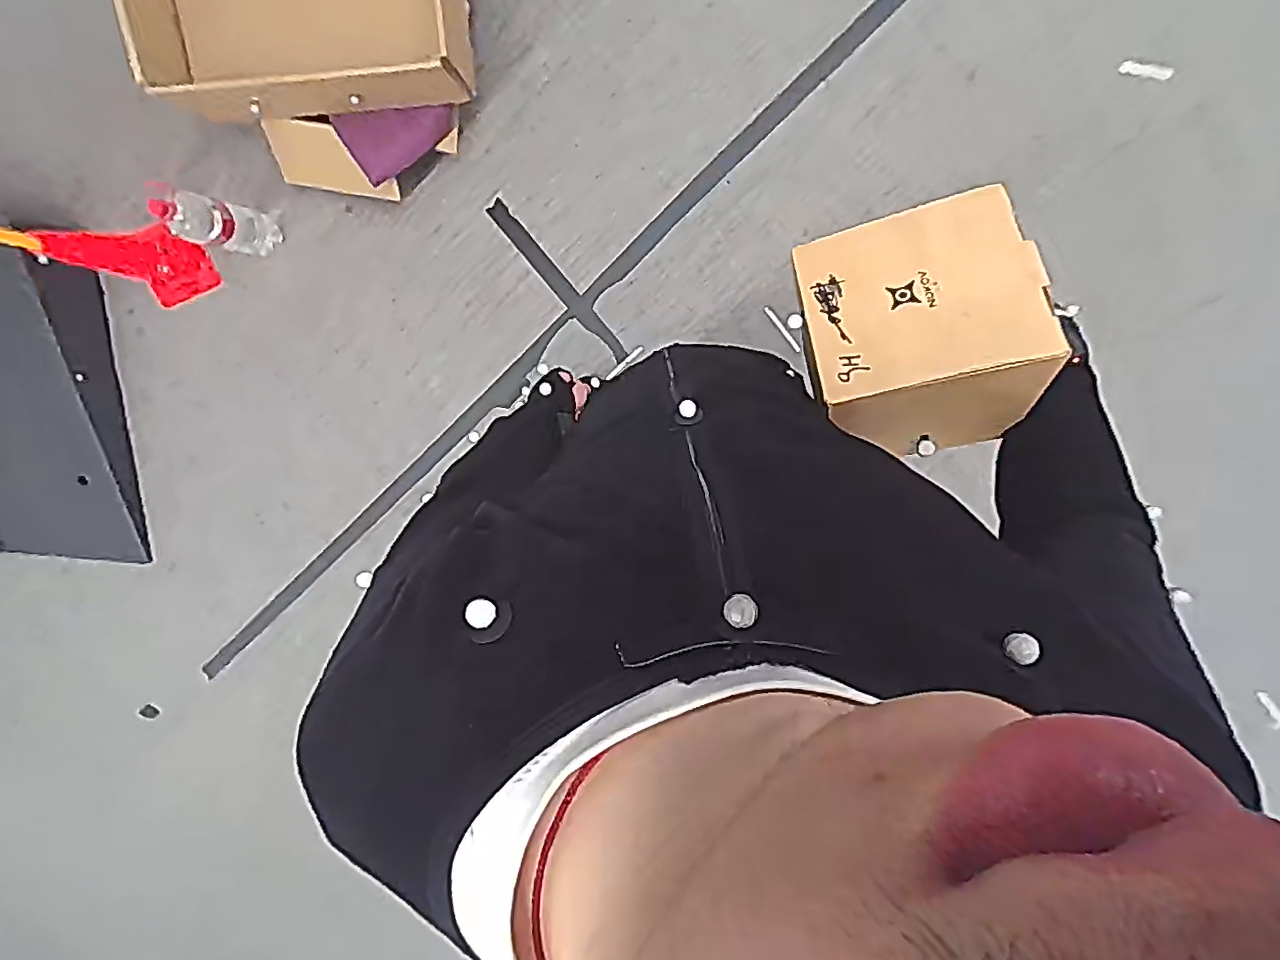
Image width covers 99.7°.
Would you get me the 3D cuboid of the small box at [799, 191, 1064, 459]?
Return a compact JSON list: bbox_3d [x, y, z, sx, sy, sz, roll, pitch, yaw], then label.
[{"bbox_3d":[0.262,-0.135,0.533,0.179,0.176,0.168,-11,69,16],"label":"small box"}]
